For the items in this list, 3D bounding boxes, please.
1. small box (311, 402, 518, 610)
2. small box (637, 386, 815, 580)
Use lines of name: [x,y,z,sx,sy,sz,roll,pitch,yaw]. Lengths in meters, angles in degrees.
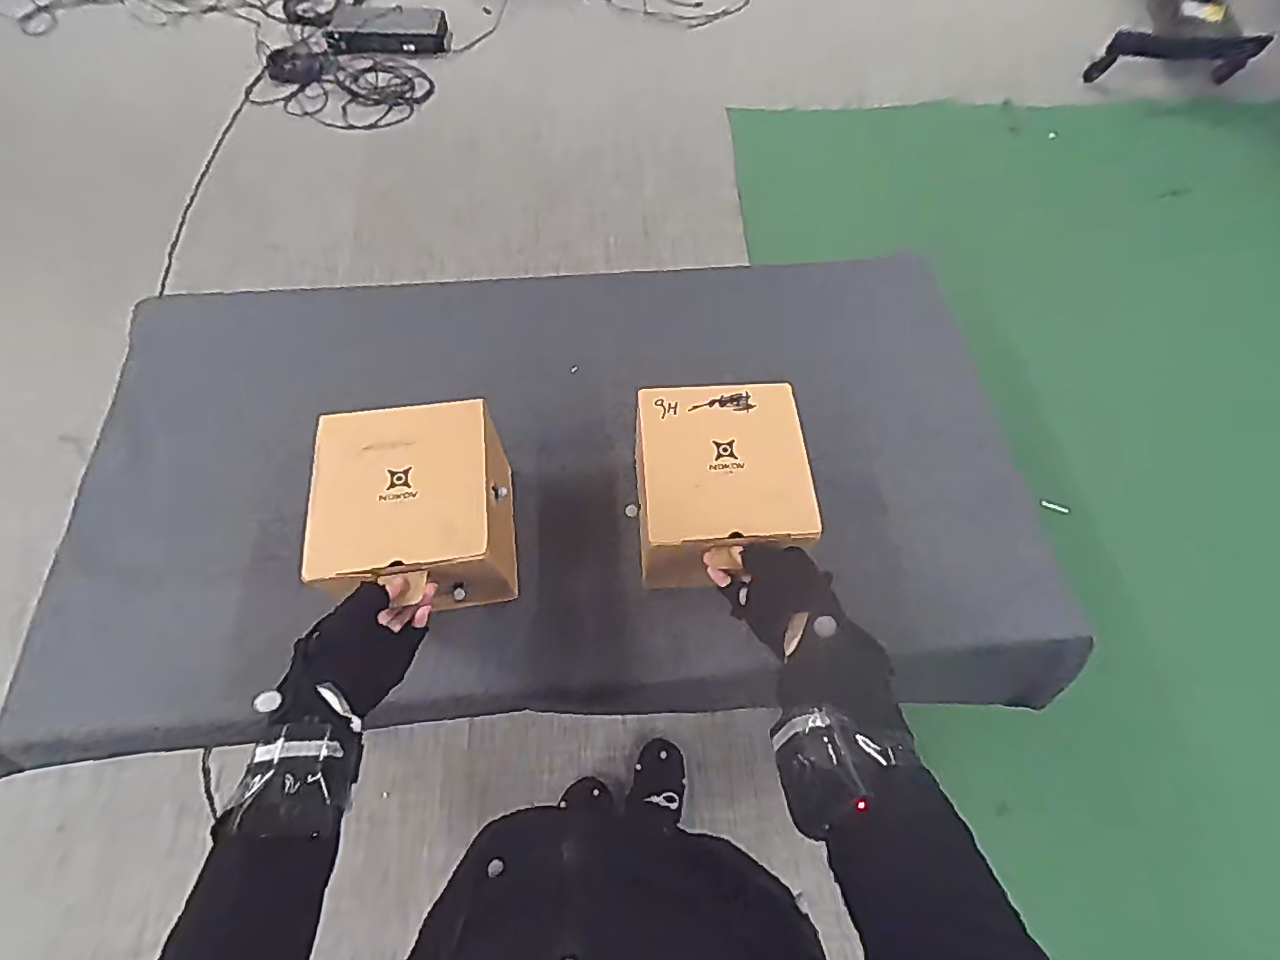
small box: [-0.233,0.039,0.602,0.168,0.176,0.179,-7,64,-7]
small box: [0.083,0.014,0.622,0.168,0.176,0.179,-3,65,-2]
